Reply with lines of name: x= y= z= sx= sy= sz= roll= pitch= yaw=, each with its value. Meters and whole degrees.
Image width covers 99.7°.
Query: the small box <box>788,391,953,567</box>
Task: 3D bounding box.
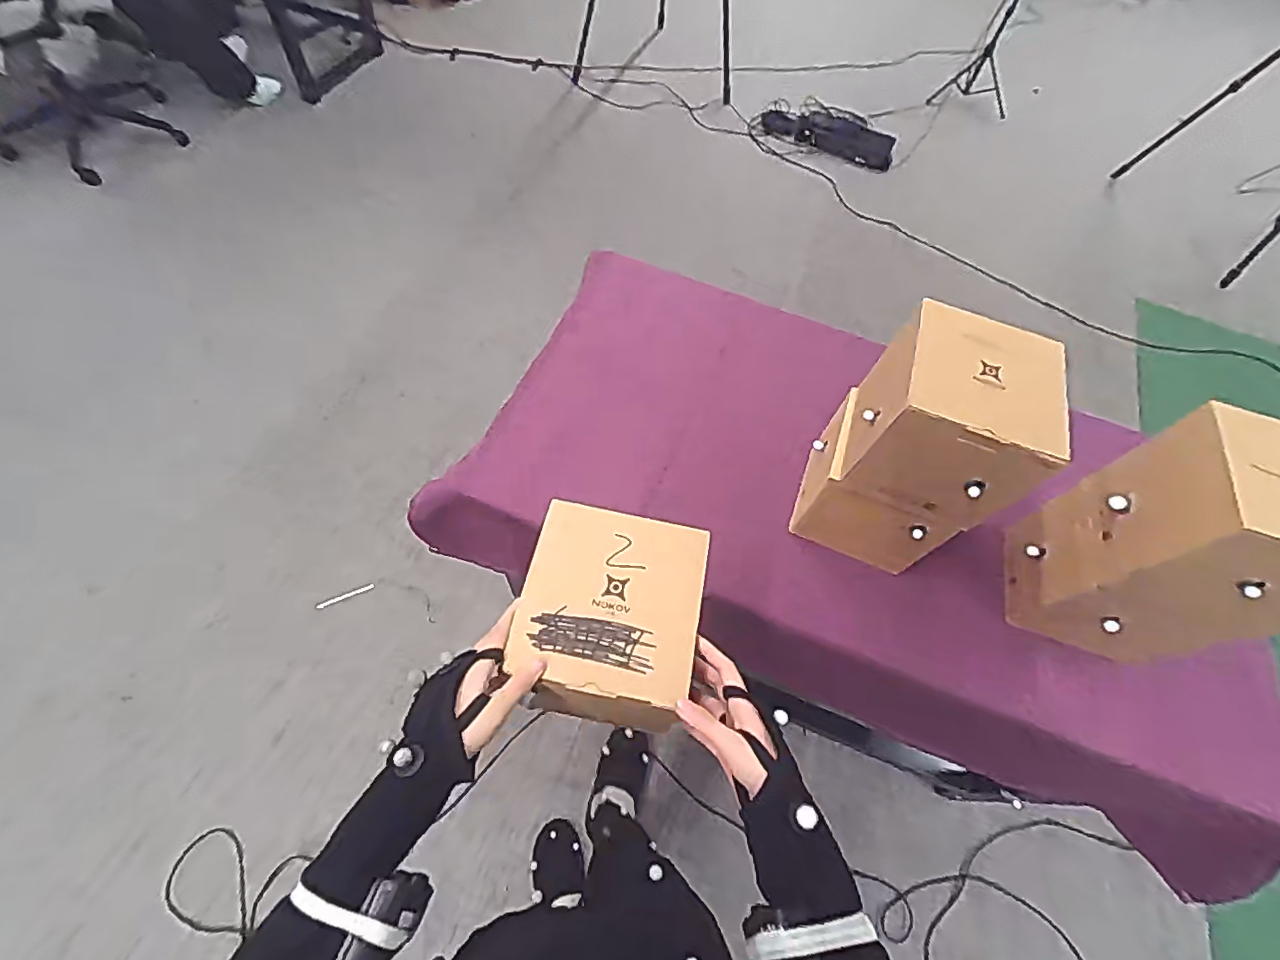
small box: x=0.336 y=0.006 z=0.791 sx=0.179 sy=0.176 sz=0.168 roll=22 pitch=60 yaw=6

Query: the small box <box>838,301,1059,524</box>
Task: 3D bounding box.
small box: x=0.358 y=-0.073 z=0.650 sx=0.168 sy=0.176 sz=0.179 roll=21 pitch=59 yaw=5

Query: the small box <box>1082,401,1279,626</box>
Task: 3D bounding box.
small box: x=0.650 y=0.047 z=0.605 sx=0.179 sy=0.176 sz=0.168 roll=19 pitch=59 yaw=6

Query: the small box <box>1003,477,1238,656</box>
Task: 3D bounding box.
small box: x=0.637 y=0.127 z=0.748 sx=0.179 sy=0.176 sz=0.168 roll=18 pitch=60 yaw=6
